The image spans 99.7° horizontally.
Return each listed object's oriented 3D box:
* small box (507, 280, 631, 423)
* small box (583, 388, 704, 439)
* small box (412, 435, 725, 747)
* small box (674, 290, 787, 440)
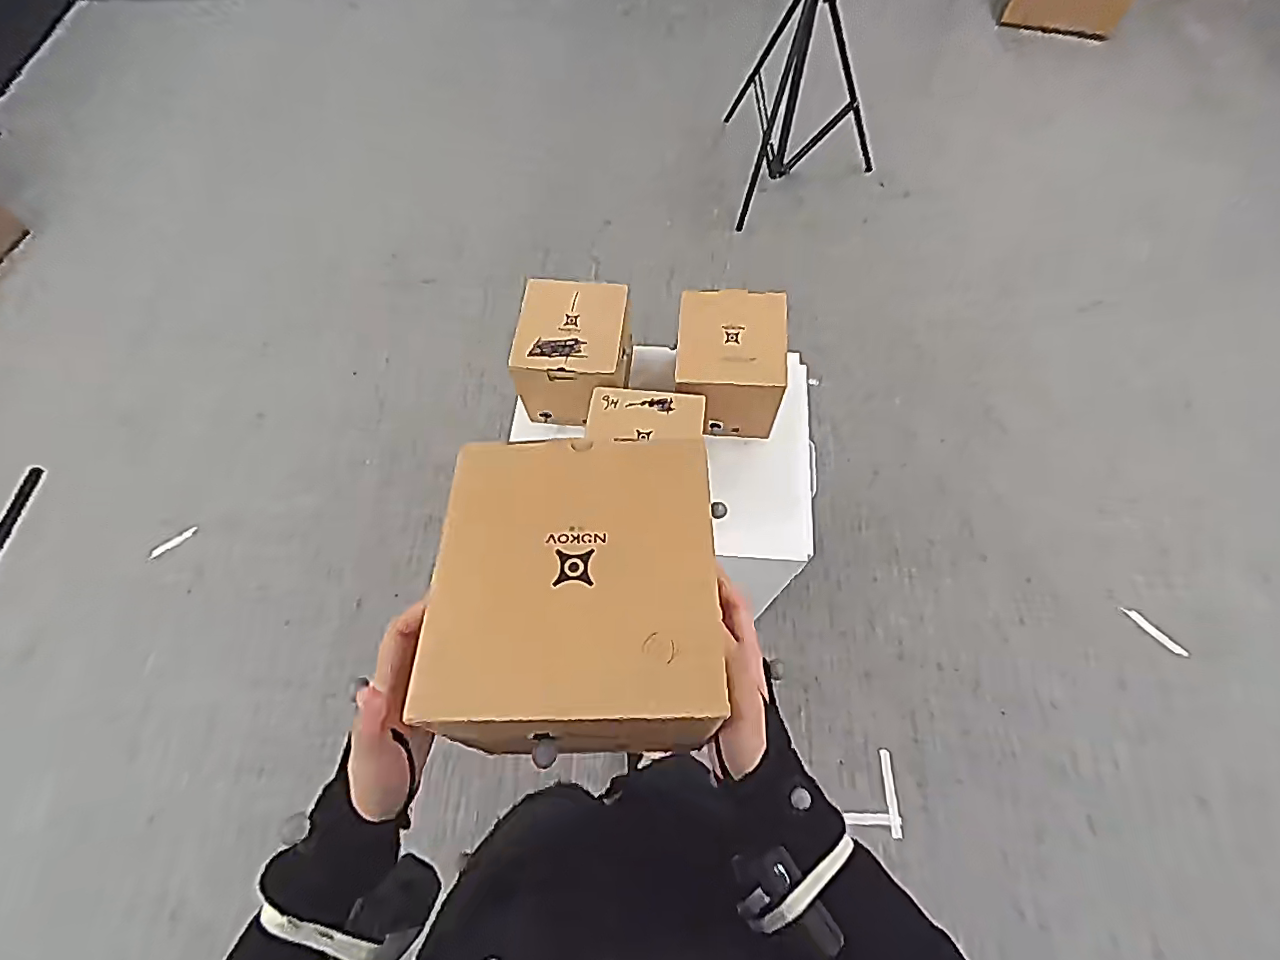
[{"bbox_3d":[-0.107,-0.205,0.905,0.168,0.176,0.179,5,66,4],"label":"small box"},{"bbox_3d":[0.004,-0.015,0.819,0.168,0.176,0.179,6,66,5],"label":"small box"},{"bbox_3d":[-0.035,0.088,0.384,0.168,0.176,0.179,-1,58,0],"label":"small box"},{"bbox_3d":[0.142,-0.185,0.890,0.168,0.176,0.179,3,68,5],"label":"small box"}]
